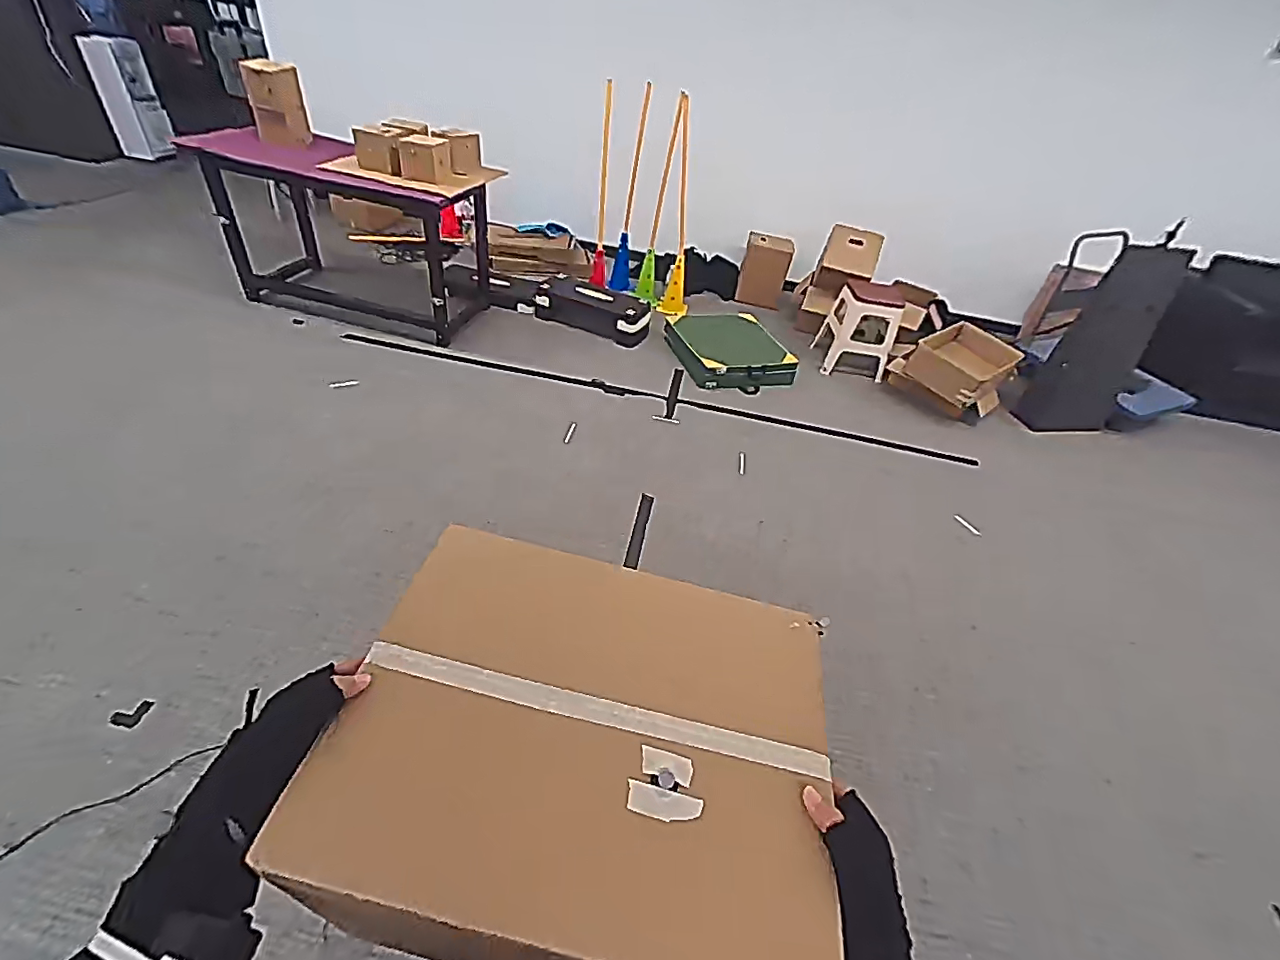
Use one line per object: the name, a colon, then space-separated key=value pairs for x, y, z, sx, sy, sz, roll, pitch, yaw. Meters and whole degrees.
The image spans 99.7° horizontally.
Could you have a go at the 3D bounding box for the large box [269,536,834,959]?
large box: x=-0.062 y=0.311 z=0.571 sx=0.408 sy=0.320 sz=0.320 roll=14 pitch=44 yaw=1
